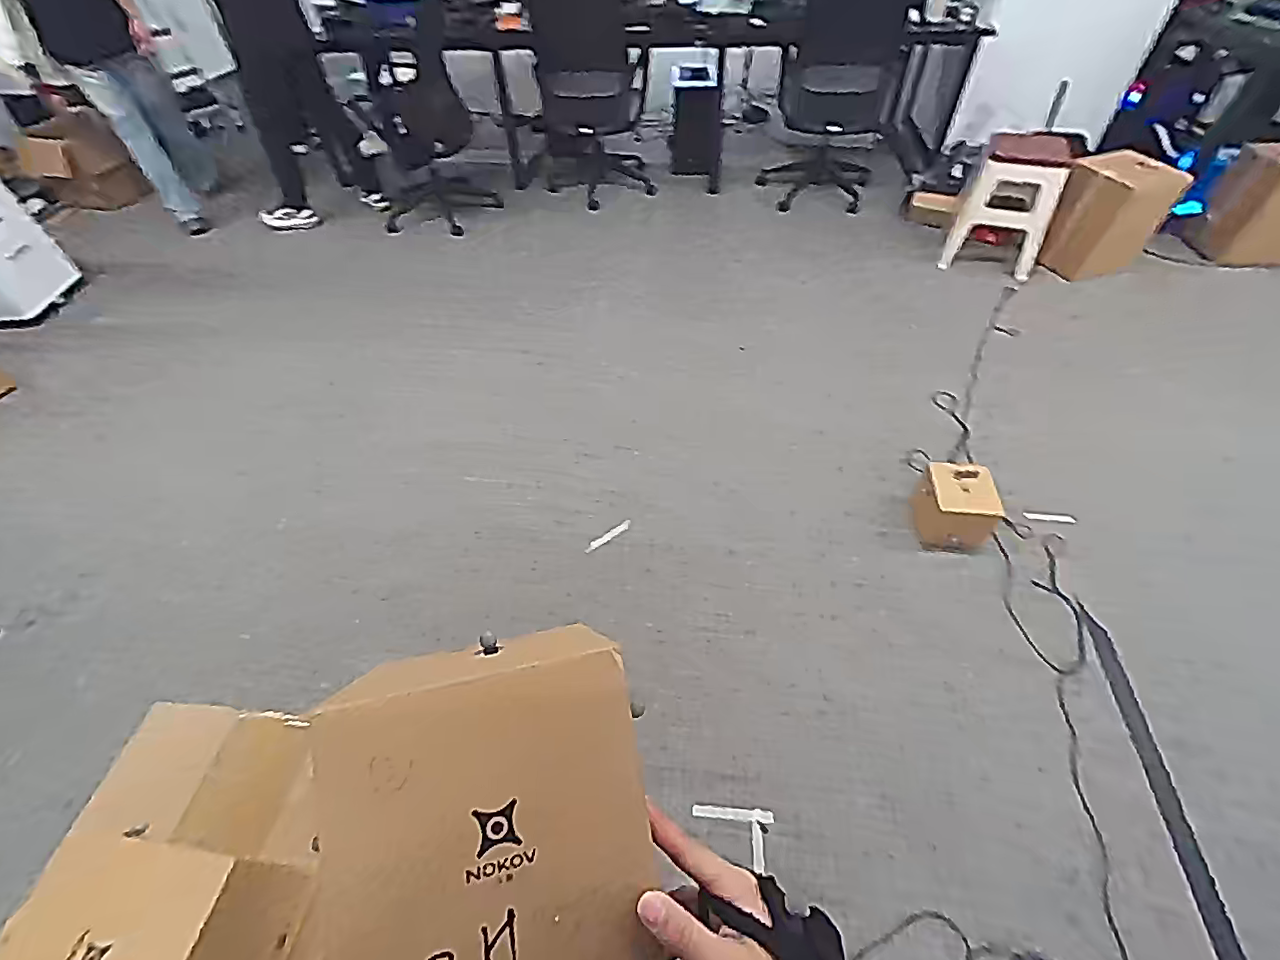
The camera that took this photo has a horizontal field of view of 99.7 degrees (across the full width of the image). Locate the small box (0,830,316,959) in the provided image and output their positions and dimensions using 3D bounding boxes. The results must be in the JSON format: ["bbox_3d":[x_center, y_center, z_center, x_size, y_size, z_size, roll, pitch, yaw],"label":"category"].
[{"bbox_3d":[-0.451,0.444,0.505,0.179,0.176,0.168,4,50,6],"label":"small box"}]

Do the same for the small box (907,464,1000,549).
[{"bbox_3d":[0.901,0.077,1.572,0.168,0.176,0.179,4,51,6],"label":"small box"}]
